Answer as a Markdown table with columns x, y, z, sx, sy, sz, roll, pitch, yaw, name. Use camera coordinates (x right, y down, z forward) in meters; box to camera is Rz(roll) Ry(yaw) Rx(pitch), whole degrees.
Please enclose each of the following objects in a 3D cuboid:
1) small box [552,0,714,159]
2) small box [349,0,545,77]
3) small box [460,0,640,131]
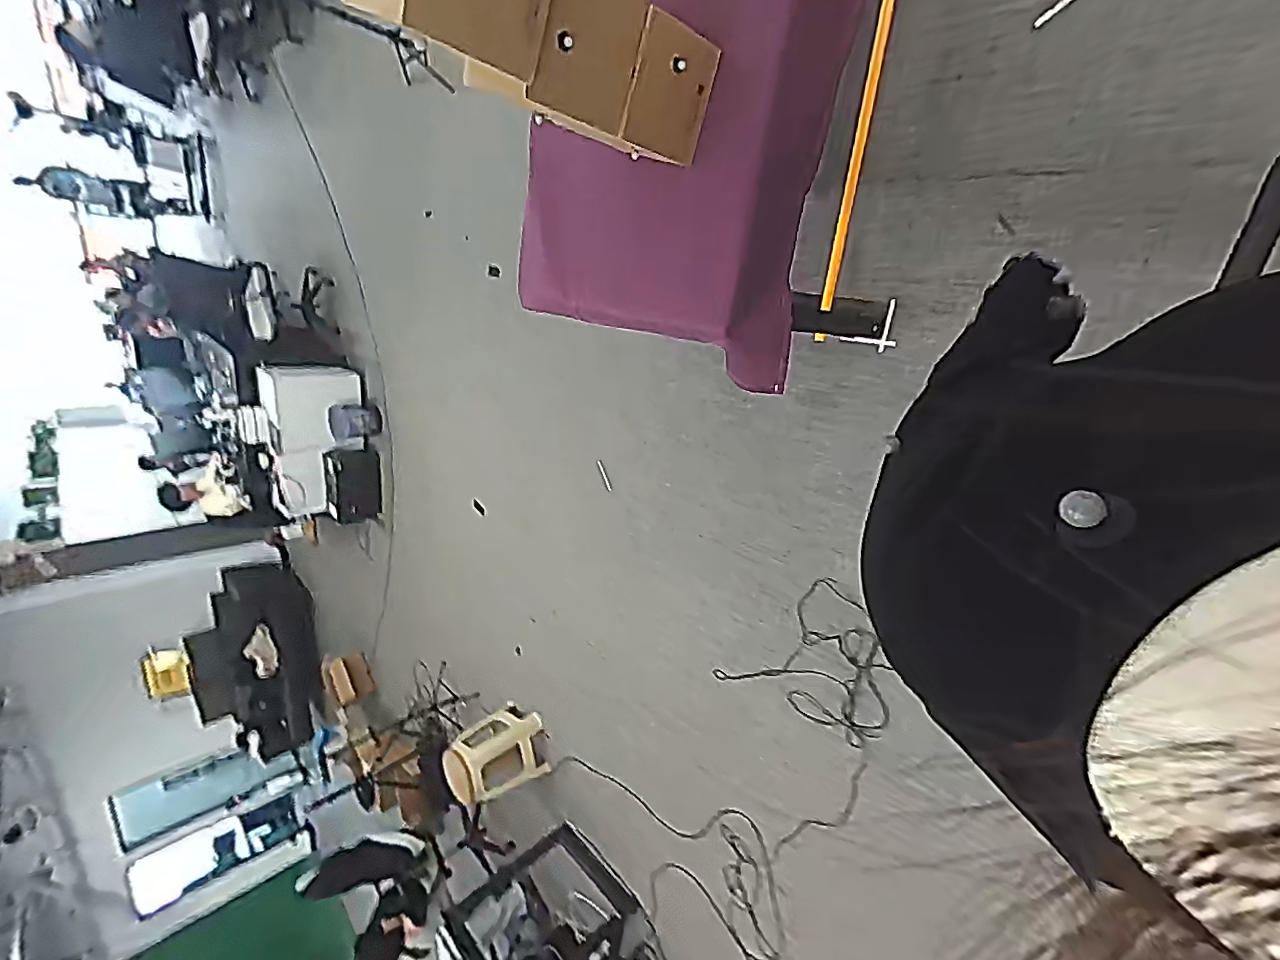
| x | y | z | sx | sy | sz | roll | pitch | yaw | name |
| --- | --- | --- | --- | --- | --- | --- | --- | --- | --- |
| -0.011 | -0.635 | 0.868 | 0.179 | 0.176 | 0.168 | 37 | 122 | 33 | small box |
| -0.220 | -0.598 | 0.617 | 0.179 | 0.176 | 0.168 | 43 | 125 | 30 | small box |
| -0.125 | -0.615 | 0.751 | 0.168 | 0.176 | 0.179 | 38 | 122 | 32 | small box |
